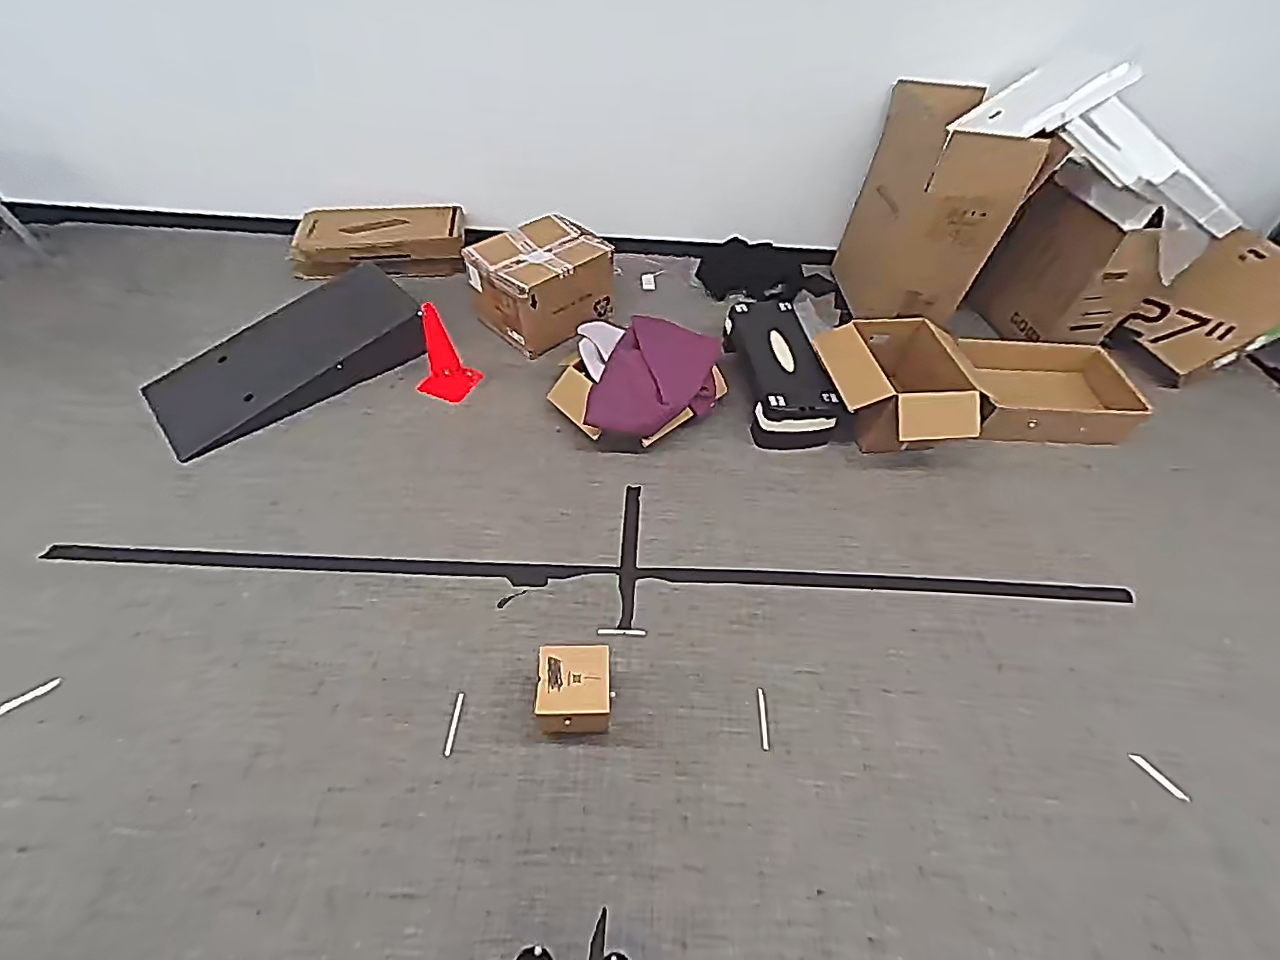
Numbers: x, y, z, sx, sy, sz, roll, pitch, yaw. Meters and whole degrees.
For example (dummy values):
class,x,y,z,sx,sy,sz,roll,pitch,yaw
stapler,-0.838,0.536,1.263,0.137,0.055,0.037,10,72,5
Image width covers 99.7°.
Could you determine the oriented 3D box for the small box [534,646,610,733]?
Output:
class,x,y,z,sx,sy,sz,roll,pitch,yaw
small box,-0.163,0.531,1.361,0.179,0.176,0.168,0,51,-4
